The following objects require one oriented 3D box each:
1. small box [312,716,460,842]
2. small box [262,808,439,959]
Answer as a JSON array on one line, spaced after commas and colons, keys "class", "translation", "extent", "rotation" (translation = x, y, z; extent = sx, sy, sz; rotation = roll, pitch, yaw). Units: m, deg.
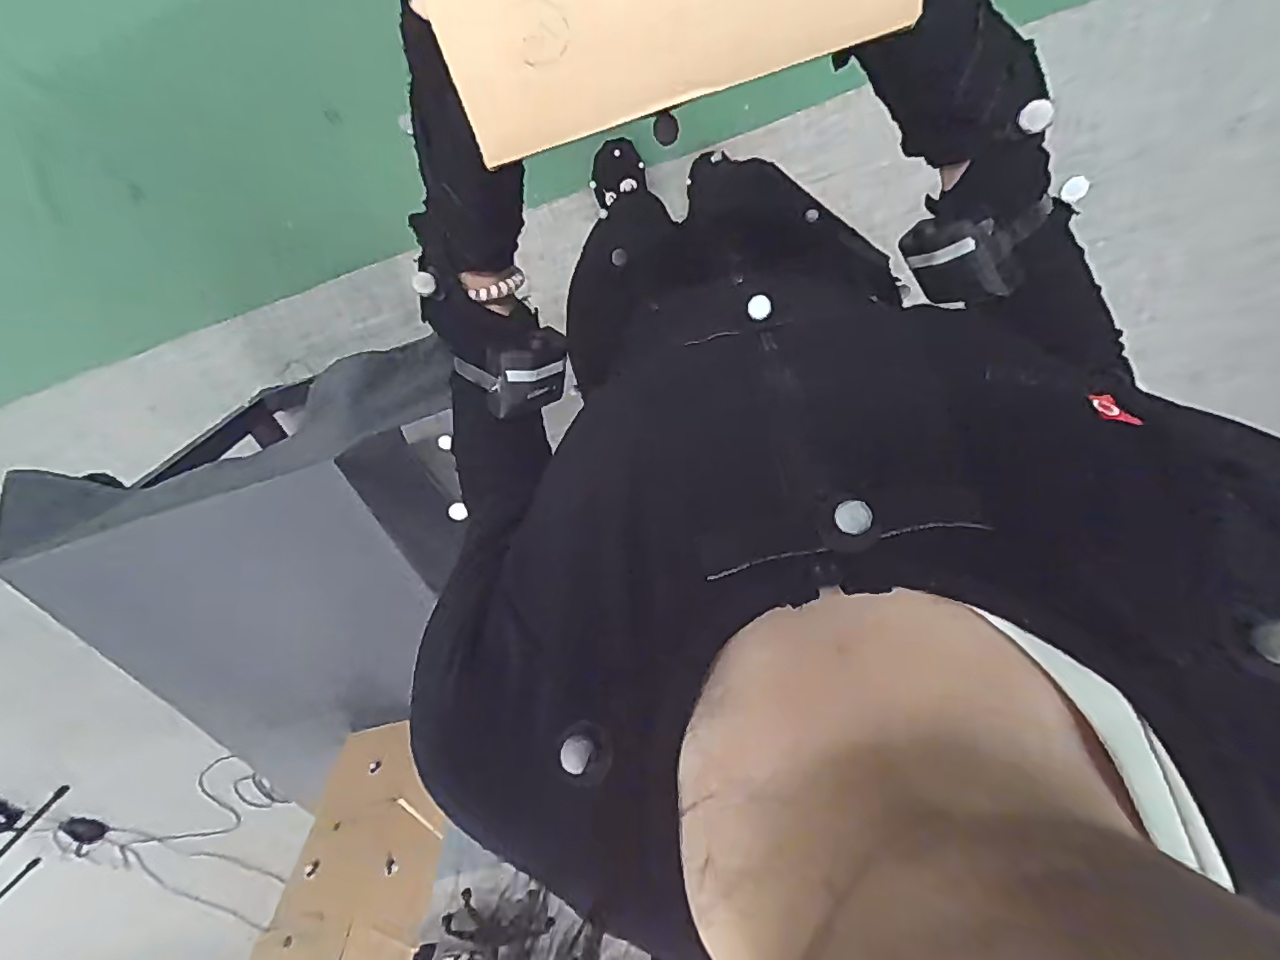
[{"class": "small box", "translation": [-0.478, 0.591, 1.050], "extent": [0.179, 0.176, 0.168], "rotation": [-16, 122, 6]}, {"class": "small box", "translation": [-0.473, 0.681, 0.915], "extent": [0.168, 0.176, 0.179], "rotation": [-17, 121, 9]}]
